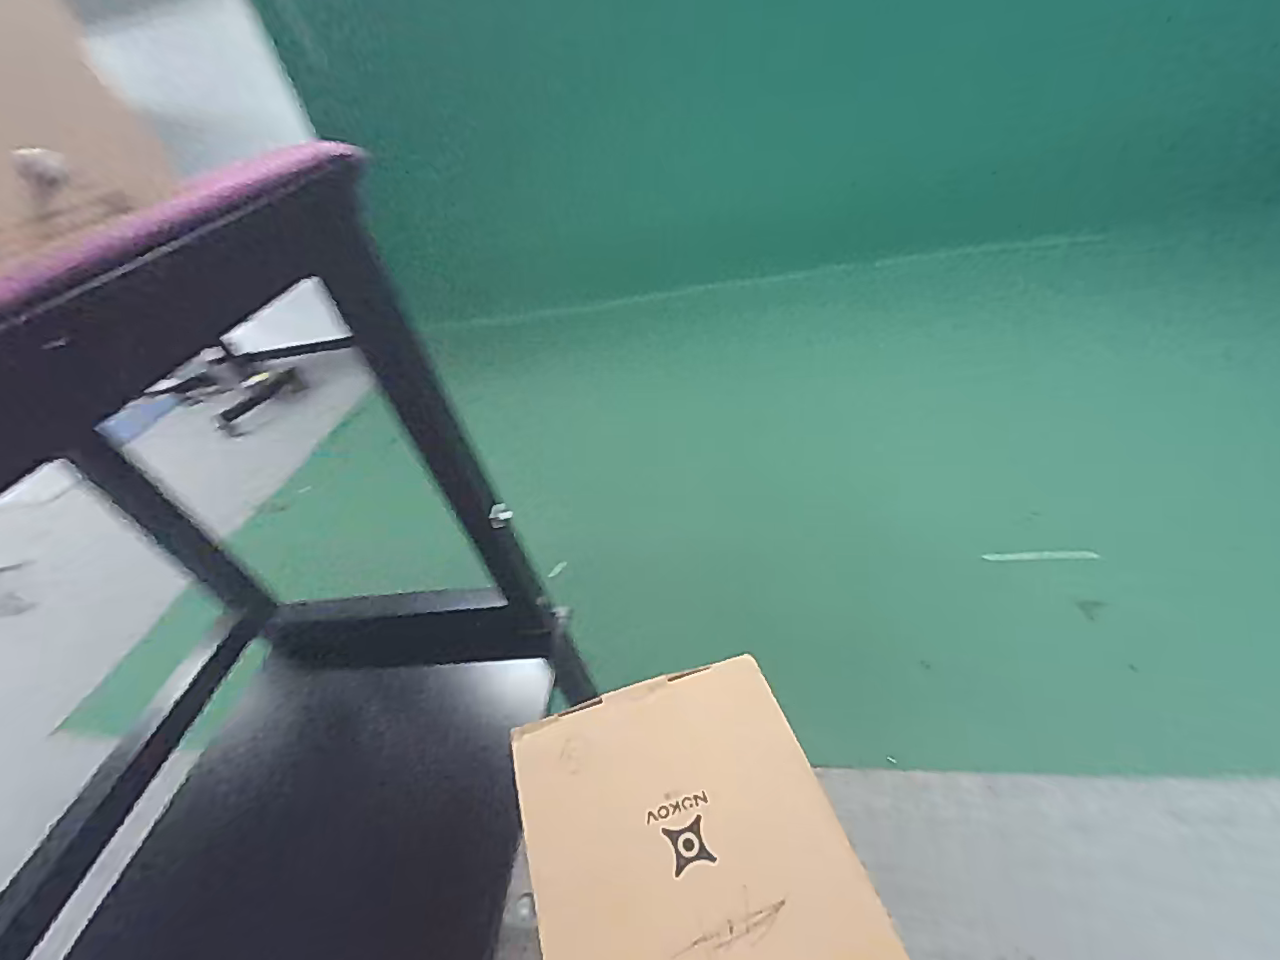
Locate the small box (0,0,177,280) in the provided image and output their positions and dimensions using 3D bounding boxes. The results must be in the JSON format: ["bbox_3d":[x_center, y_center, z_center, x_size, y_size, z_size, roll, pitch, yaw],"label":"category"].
[{"bbox_3d":[-0.494,-0.232,0.368,0.179,0.176,0.168,-1,42,15],"label":"small box"}]
